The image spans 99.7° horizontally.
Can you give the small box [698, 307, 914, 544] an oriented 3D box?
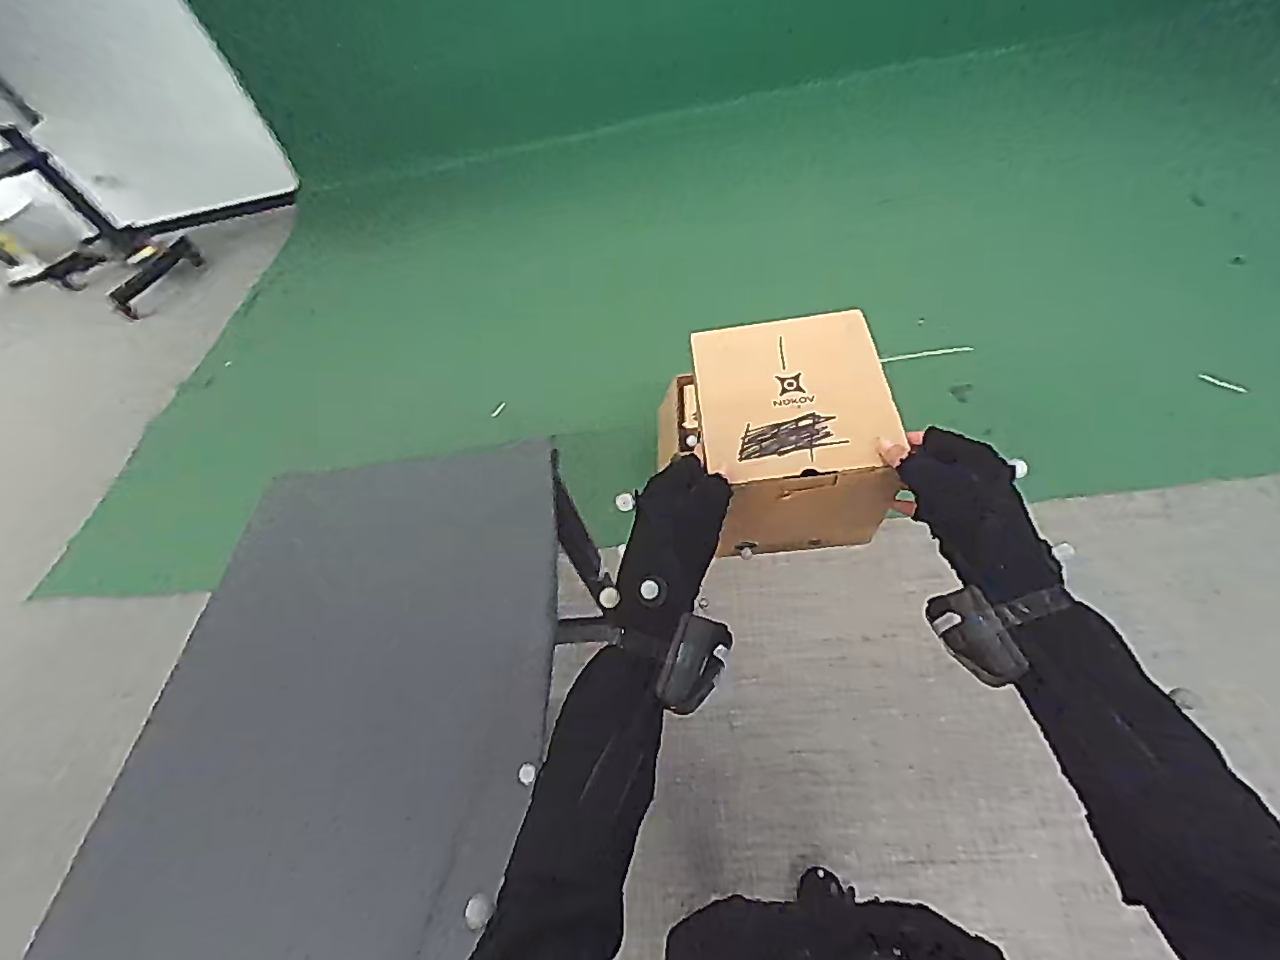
[{"bbox_3d":[0.152,-0.042,0.550,0.168,0.176,0.179,-6,61,7],"label":"small box"}]
